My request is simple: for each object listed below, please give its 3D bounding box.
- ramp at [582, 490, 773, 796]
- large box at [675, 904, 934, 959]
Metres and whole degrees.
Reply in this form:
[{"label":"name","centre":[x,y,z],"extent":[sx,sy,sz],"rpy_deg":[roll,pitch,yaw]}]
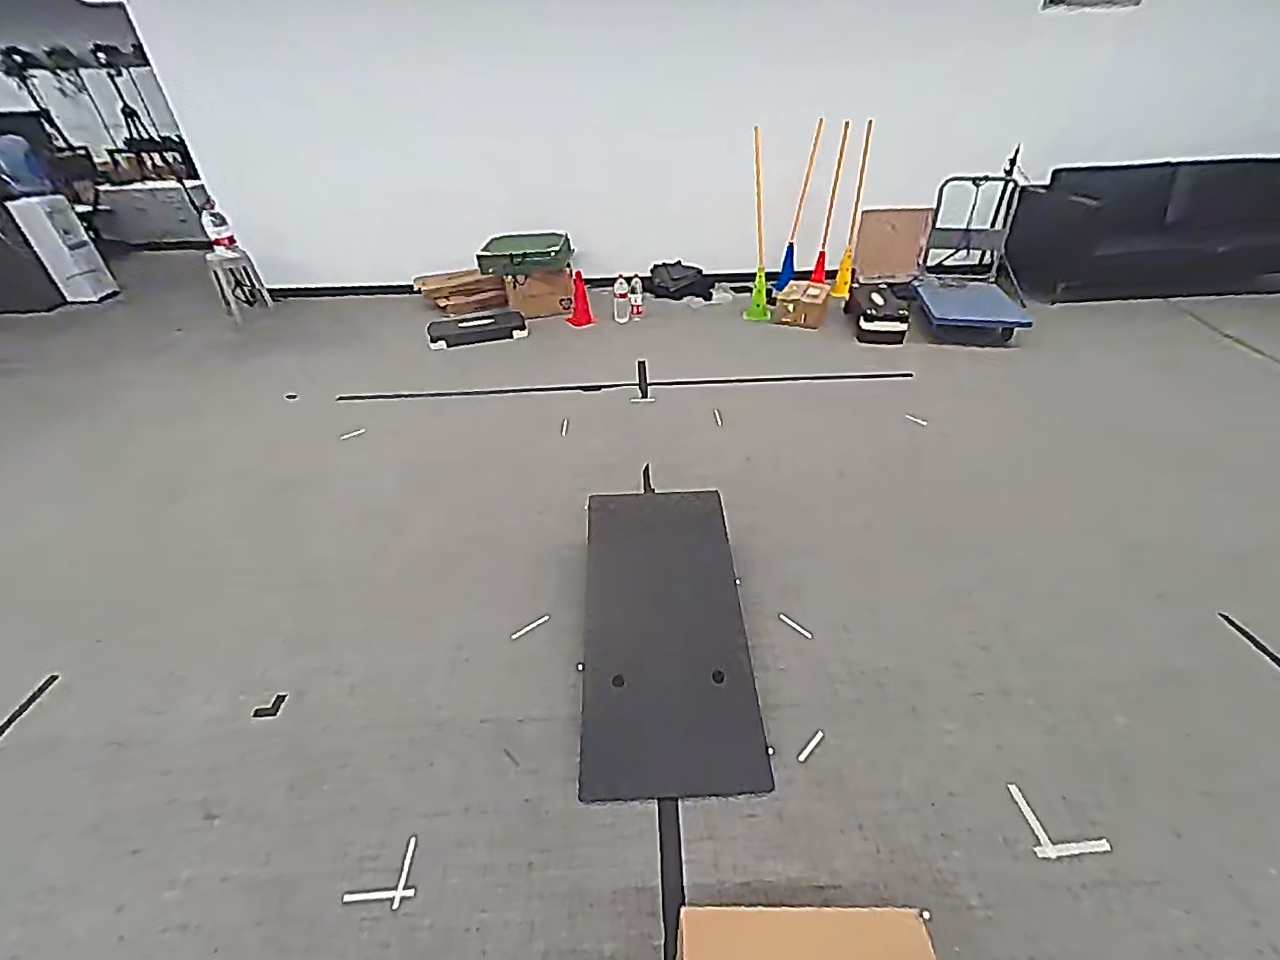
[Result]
[{"label":"ramp","centre":[0.080,0.415,1.688],"extent":[0.509,0.206,0.991],"rpy_deg":[-2,37,-3]},{"label":"large box","centre":[0.268,0.932,0.876],"extent":[0.408,0.320,0.320],"rpy_deg":[0,36,1]}]
